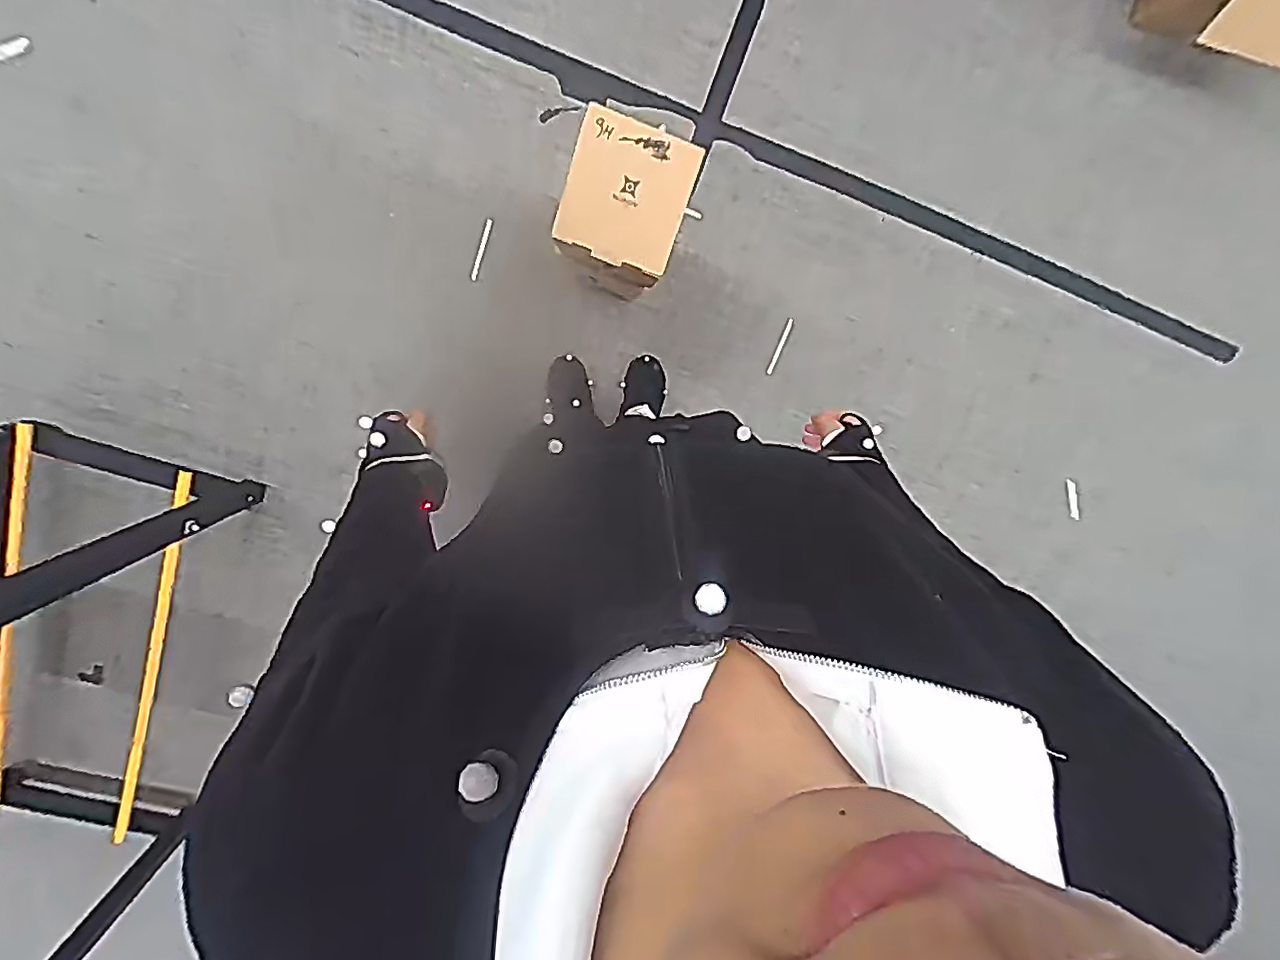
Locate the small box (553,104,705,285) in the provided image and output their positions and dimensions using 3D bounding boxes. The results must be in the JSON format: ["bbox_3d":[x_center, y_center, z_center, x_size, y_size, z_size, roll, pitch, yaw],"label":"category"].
[{"bbox_3d":[-0.018,-0.406,0.808,0.168,0.176,0.179,19,104,-8],"label":"small box"}]

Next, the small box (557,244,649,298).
[{"bbox_3d":[-0.035,-0.444,0.967,0.168,0.176,0.179,23,104,-8],"label":"small box"}]
